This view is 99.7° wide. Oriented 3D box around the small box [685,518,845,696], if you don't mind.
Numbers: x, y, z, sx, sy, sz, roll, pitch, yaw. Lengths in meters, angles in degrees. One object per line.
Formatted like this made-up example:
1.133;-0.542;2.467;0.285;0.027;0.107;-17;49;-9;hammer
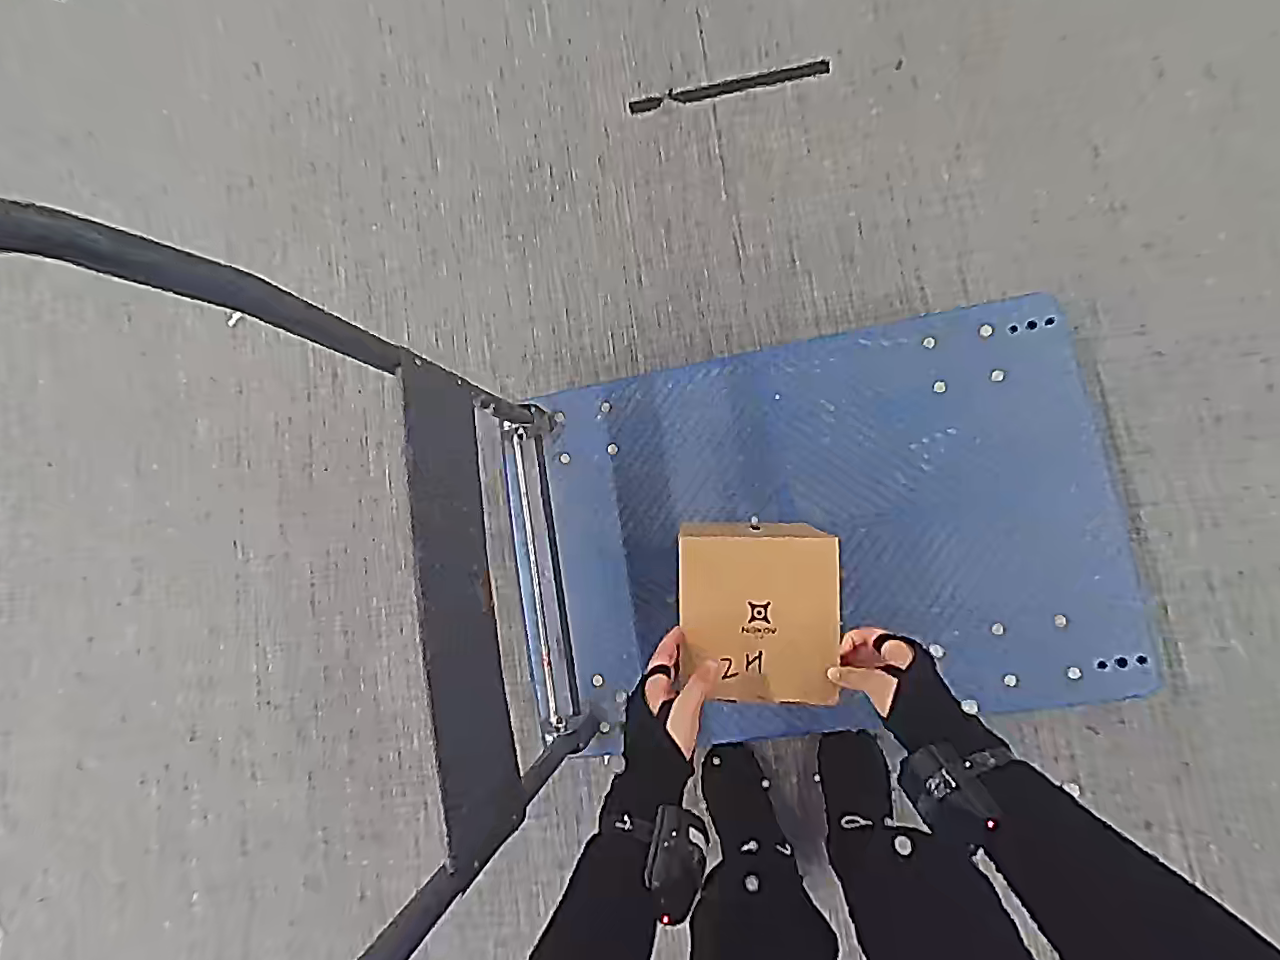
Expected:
0.137;0.137;0.647;0.168;0.176;0.179;0;91;6;small box
